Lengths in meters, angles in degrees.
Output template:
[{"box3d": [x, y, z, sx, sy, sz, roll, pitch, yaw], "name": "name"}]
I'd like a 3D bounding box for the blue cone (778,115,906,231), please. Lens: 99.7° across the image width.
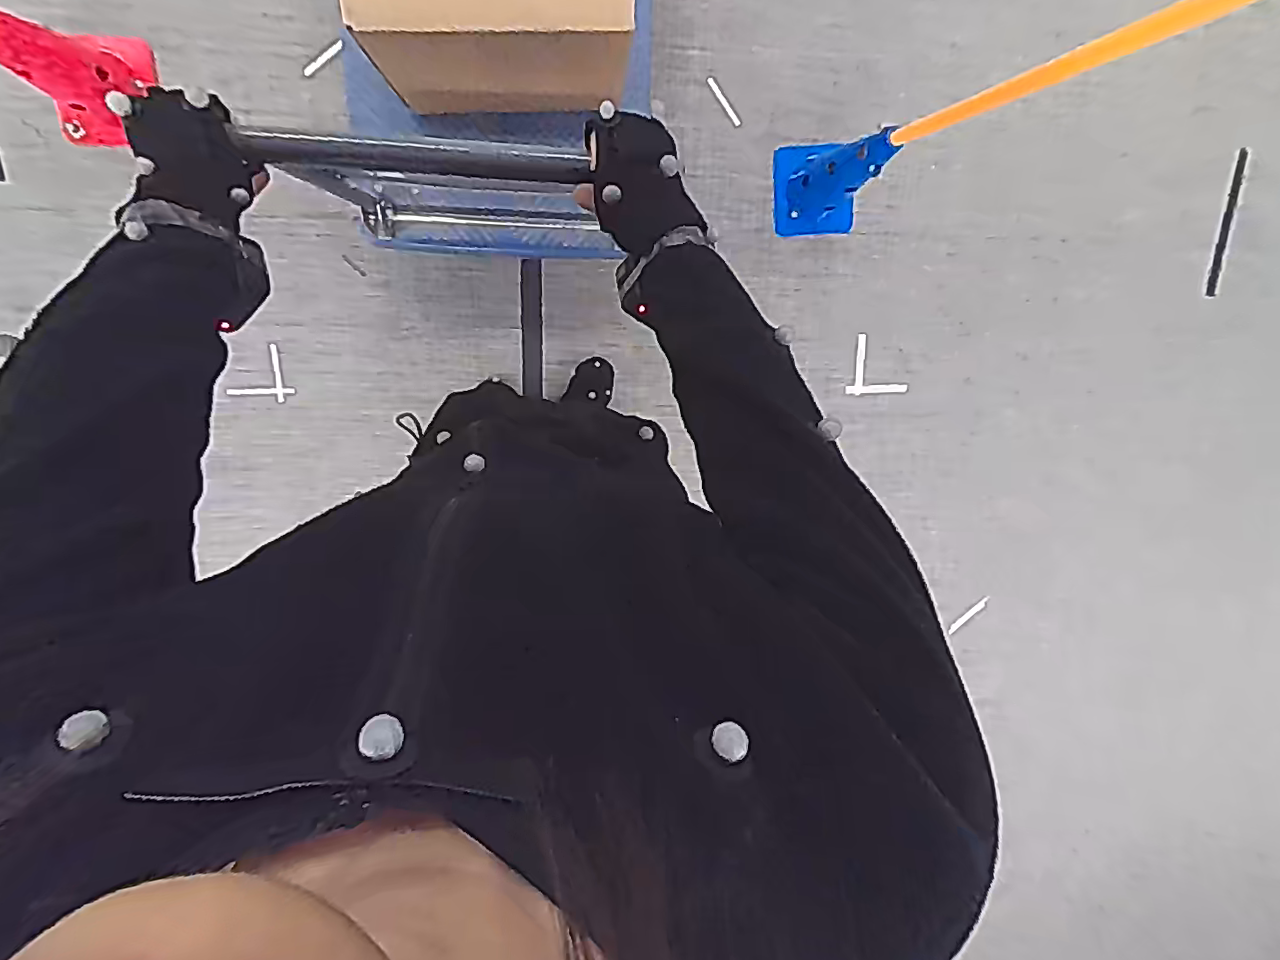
[{"box3d": [0.448, -0.675, 1.160, 0.193, 0.380, 0.192, -4, 104, -5], "name": "blue cone"}]
